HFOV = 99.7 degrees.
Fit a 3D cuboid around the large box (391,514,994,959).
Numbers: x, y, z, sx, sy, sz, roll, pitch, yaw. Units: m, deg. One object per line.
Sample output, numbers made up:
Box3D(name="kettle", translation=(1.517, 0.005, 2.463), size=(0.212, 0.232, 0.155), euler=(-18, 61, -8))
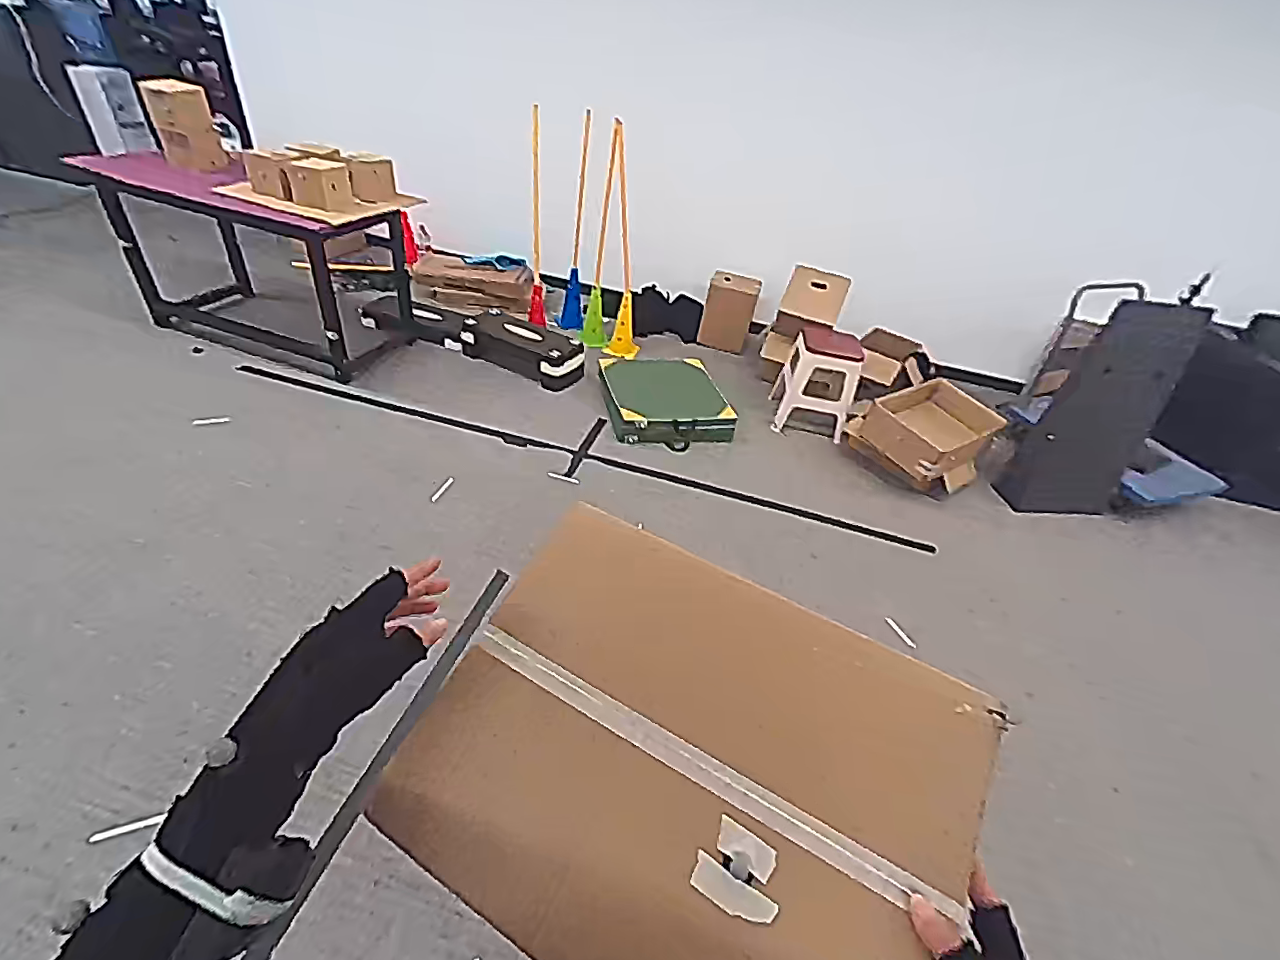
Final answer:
Box3D(name="large box", translation=(0.052, 0.301, 0.560), size=(0.408, 0.320, 0.320), euler=(25, 63, 19))
